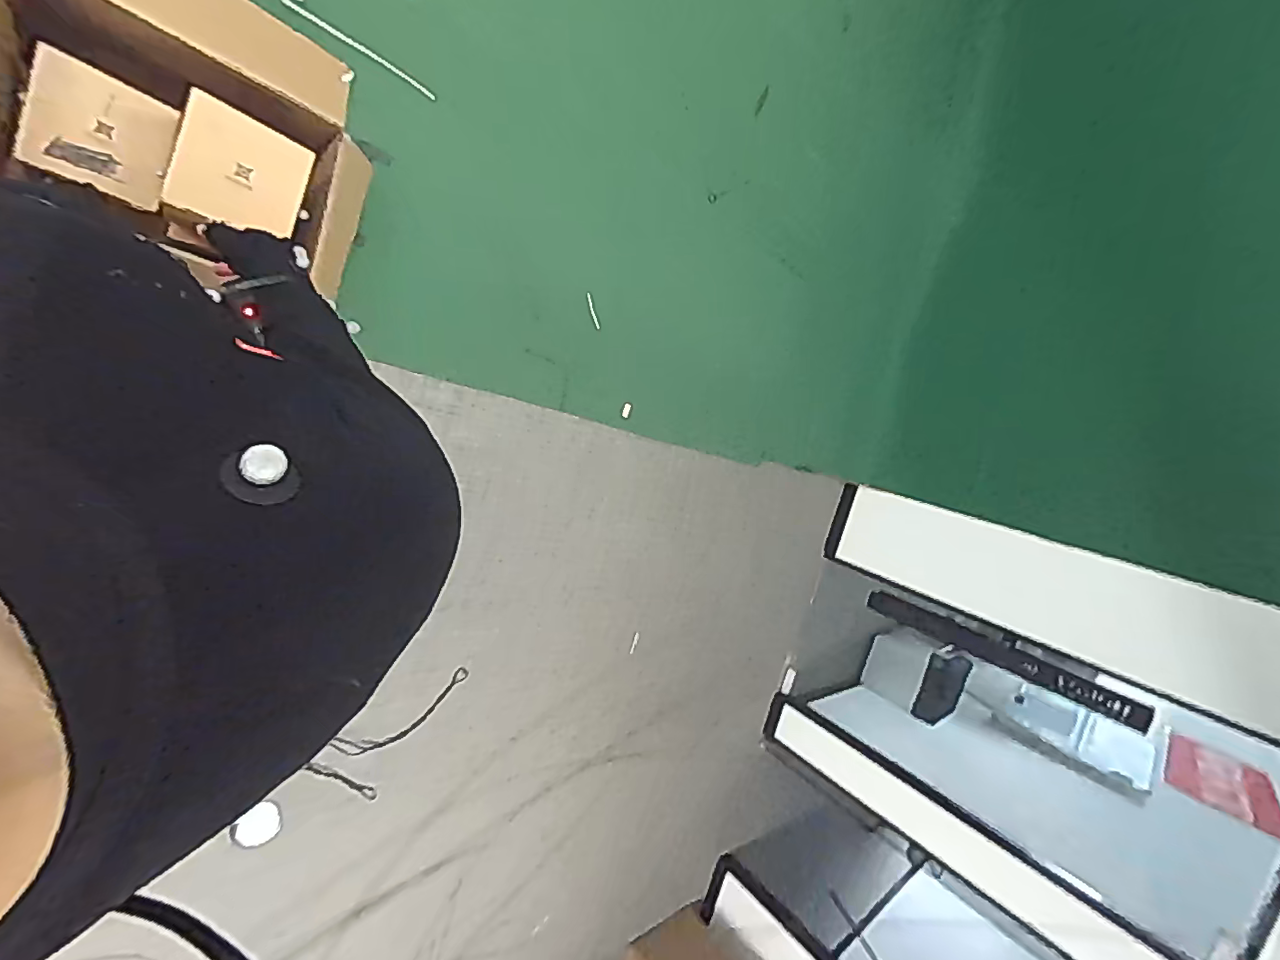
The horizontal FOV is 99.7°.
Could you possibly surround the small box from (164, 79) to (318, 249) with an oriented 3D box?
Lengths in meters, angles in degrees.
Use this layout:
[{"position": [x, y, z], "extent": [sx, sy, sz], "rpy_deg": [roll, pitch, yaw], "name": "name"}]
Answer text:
[{"position": [-0.674, -0.515, 0.913], "extent": [0.168, 0.176, 0.179], "rpy_deg": [17, 93, -41], "name": "small box"}]
